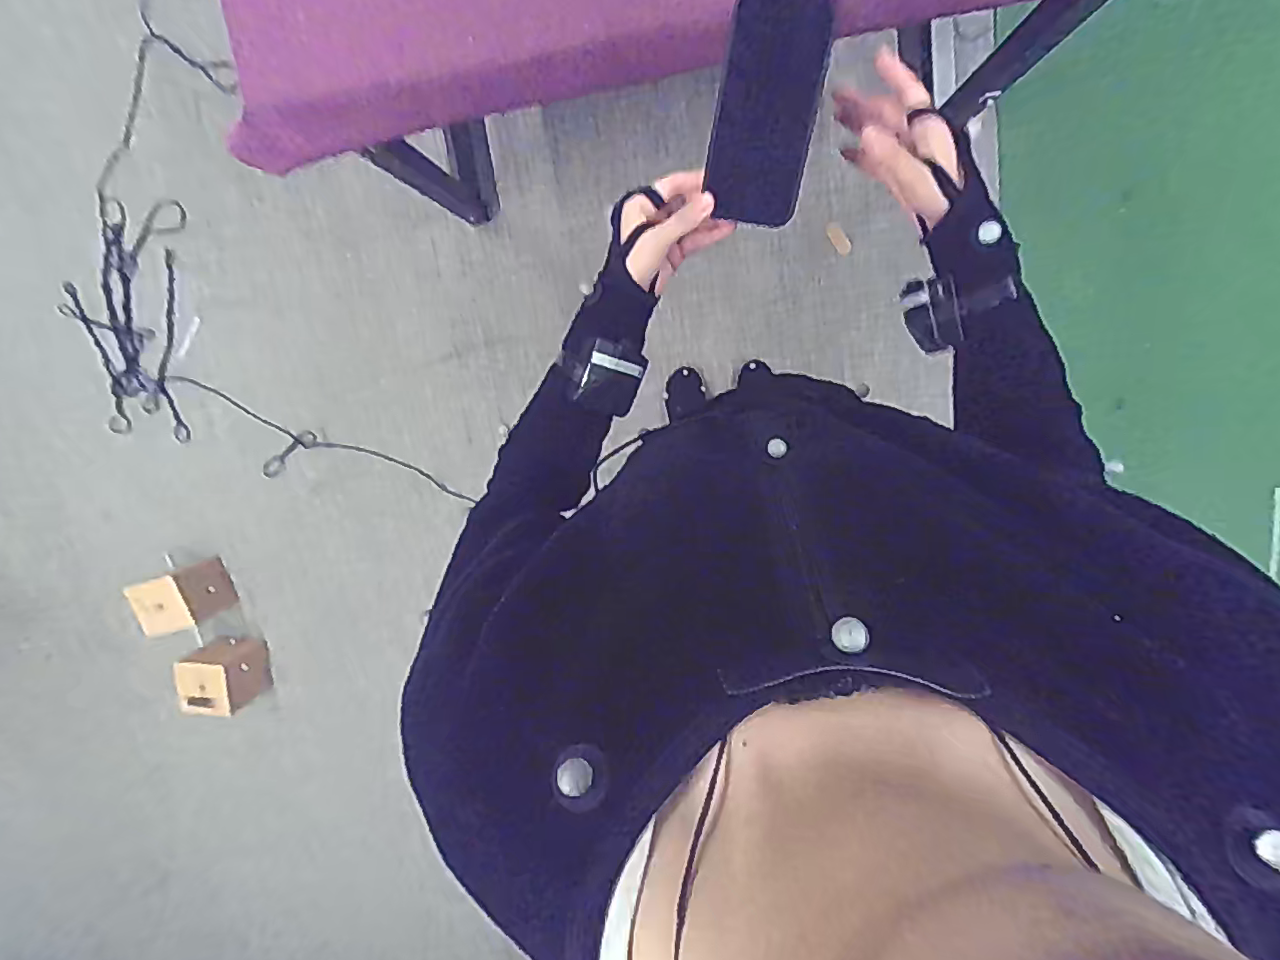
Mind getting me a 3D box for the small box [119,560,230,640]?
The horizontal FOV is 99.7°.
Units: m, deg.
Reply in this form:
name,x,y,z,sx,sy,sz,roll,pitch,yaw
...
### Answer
name,x,y,z,sx,sy,sz,roll,pitch,yaw
small box,-1.400,0.359,1.644,0.179,0.176,0.168,-15,100,8
